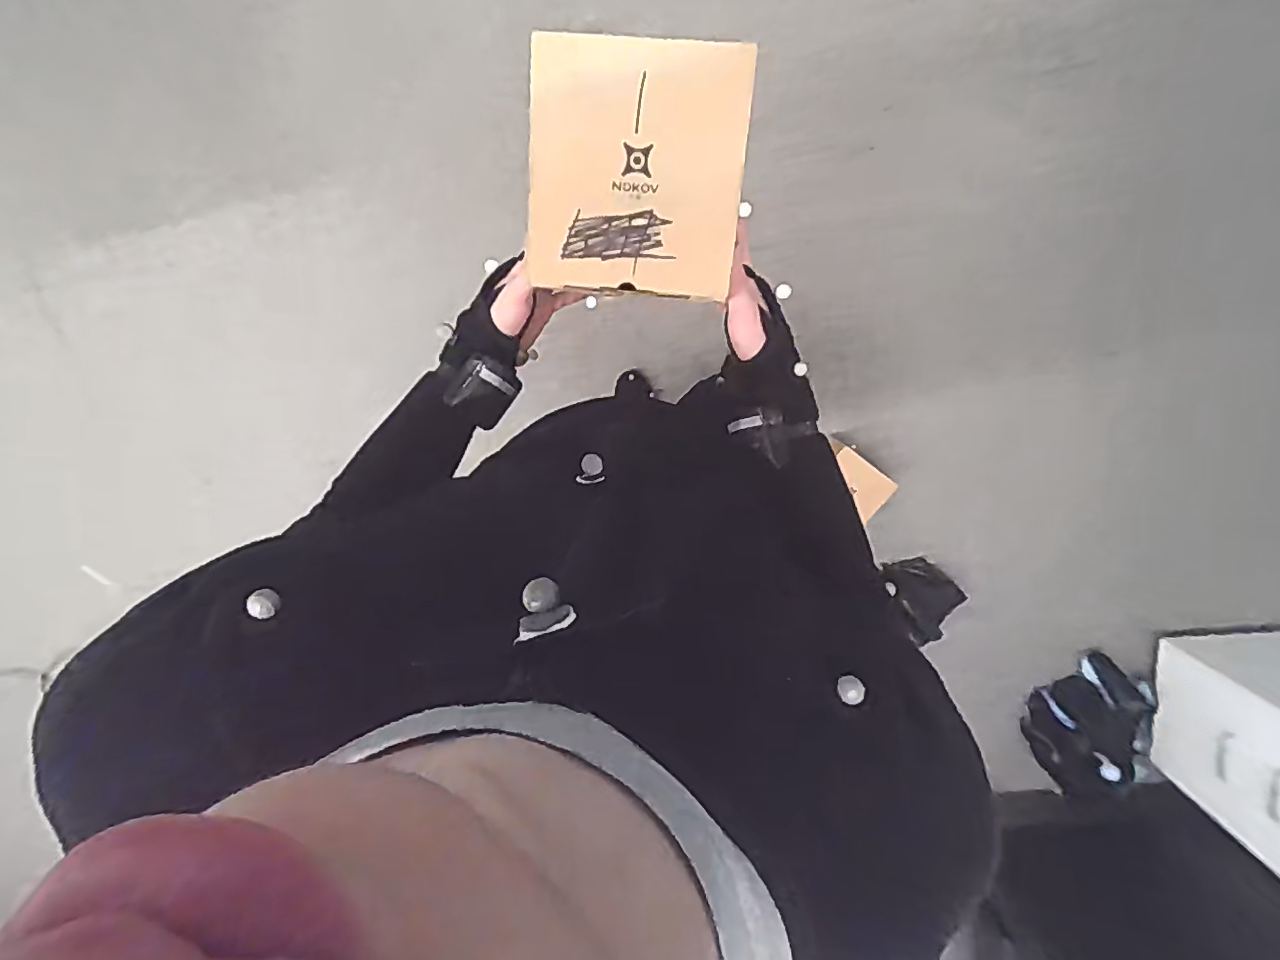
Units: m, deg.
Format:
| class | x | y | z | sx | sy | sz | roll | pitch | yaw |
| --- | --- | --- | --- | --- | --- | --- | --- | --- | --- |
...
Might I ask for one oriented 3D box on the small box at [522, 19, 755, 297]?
| class | x | y | z | sx | sy | sz | roll | pitch | yaw |
| --- | --- | --- | --- | --- | --- | --- | --- | --- | --- |
| small box | -0.001 | -0.260 | 0.479 | 0.168 | 0.176 | 0.179 | 5 | 108 | 2 |
